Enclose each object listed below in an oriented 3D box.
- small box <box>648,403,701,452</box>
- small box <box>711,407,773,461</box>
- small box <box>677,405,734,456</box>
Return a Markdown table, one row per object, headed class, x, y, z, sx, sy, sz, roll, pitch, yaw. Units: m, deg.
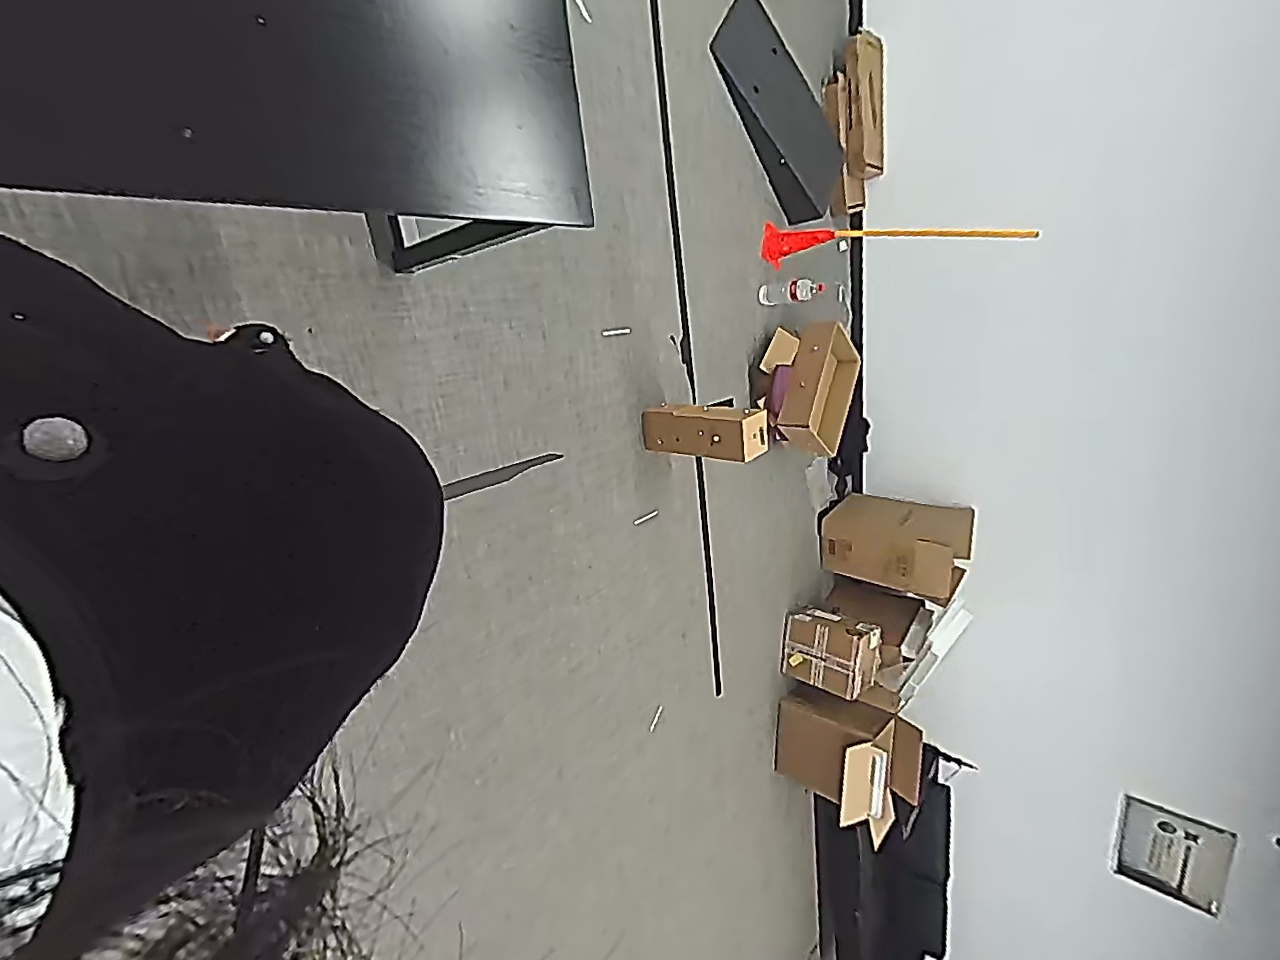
| class | x | y | z | sx | sy | sz | roll | pitch | yaw |
| --- | --- | --- | --- | --- | --- | --- | --- | --- | --- |
| small box | 0.151 | -0.226 | 2.295 | 0.168 | 0.176 | 0.179 | -24 | 113 | -44 |
| small box | 0.394 | -0.183 | 2.077 | 0.179 | 0.176 | 0.168 | -25 | 115 | -42 |
| small box | 0.271 | -0.206 | 2.185 | 0.179 | 0.176 | 0.168 | -26 | 115 | -44 |
